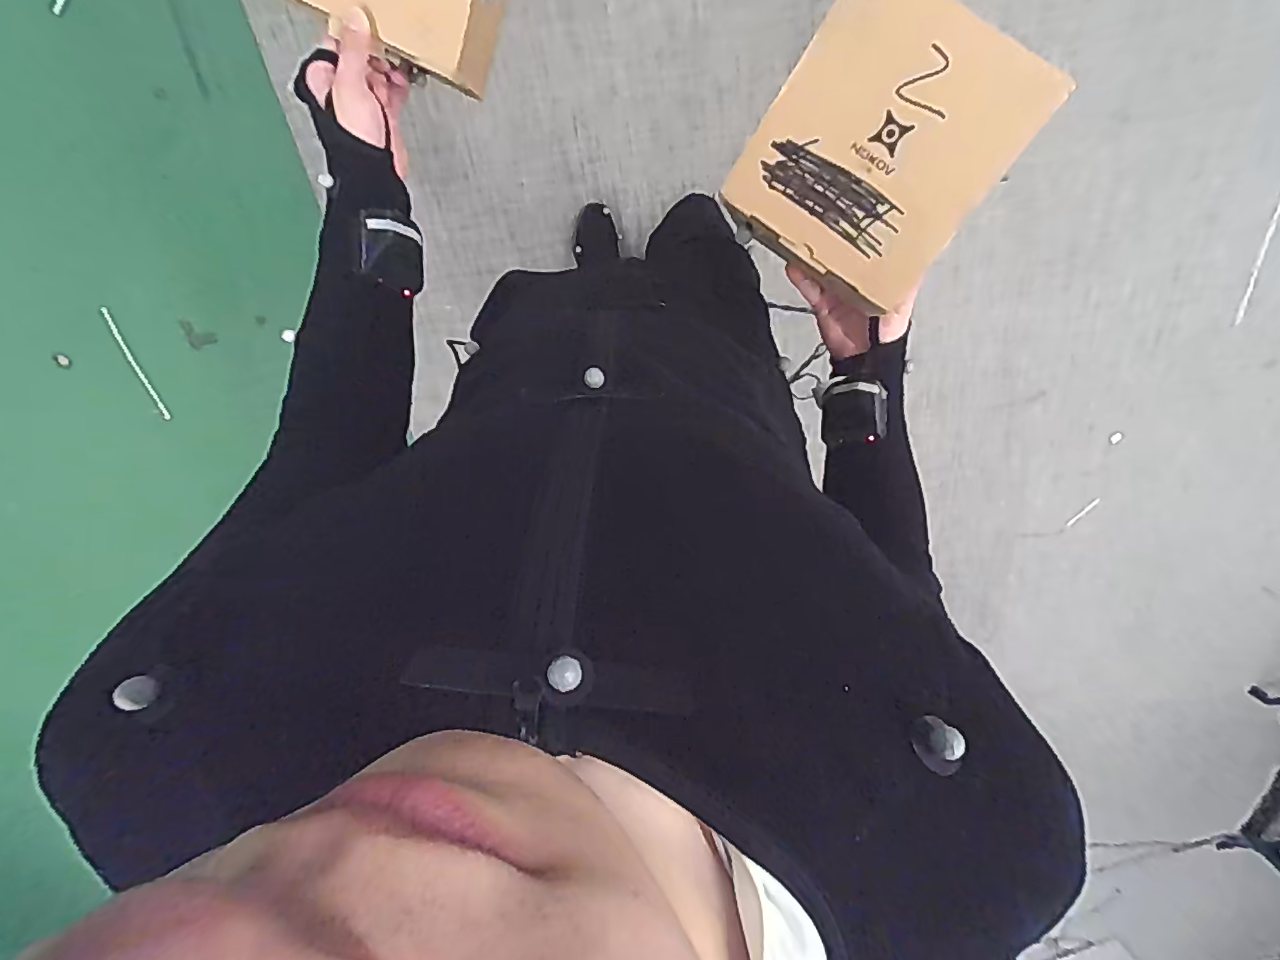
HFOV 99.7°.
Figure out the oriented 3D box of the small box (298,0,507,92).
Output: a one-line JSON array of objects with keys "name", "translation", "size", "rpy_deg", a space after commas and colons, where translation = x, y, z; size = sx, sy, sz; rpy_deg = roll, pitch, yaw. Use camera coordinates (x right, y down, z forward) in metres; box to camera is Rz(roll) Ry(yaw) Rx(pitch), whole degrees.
[{"name": "small box", "translation": [-0.210, -0.487, 0.484], "size": [0.168, 0.176, 0.179], "rpy_deg": [19, 115, -16]}]
